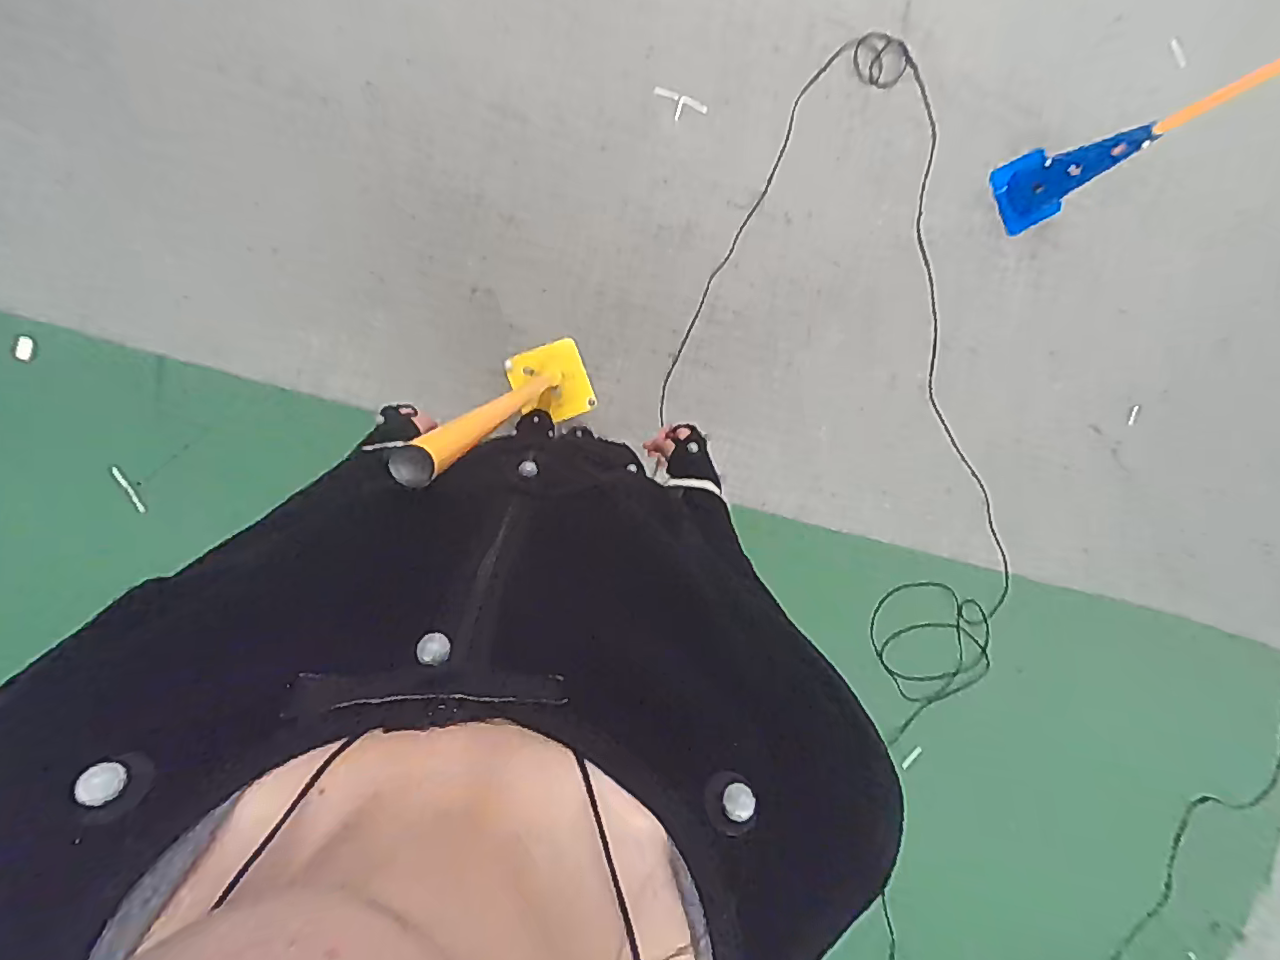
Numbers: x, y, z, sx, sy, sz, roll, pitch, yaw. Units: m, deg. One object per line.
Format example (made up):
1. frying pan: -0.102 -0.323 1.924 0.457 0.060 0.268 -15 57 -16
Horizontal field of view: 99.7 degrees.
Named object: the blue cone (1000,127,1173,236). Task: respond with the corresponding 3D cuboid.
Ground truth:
1. blue cone: 1.189 -0.829 1.437 0.193 0.380 0.192 -30 101 -7
